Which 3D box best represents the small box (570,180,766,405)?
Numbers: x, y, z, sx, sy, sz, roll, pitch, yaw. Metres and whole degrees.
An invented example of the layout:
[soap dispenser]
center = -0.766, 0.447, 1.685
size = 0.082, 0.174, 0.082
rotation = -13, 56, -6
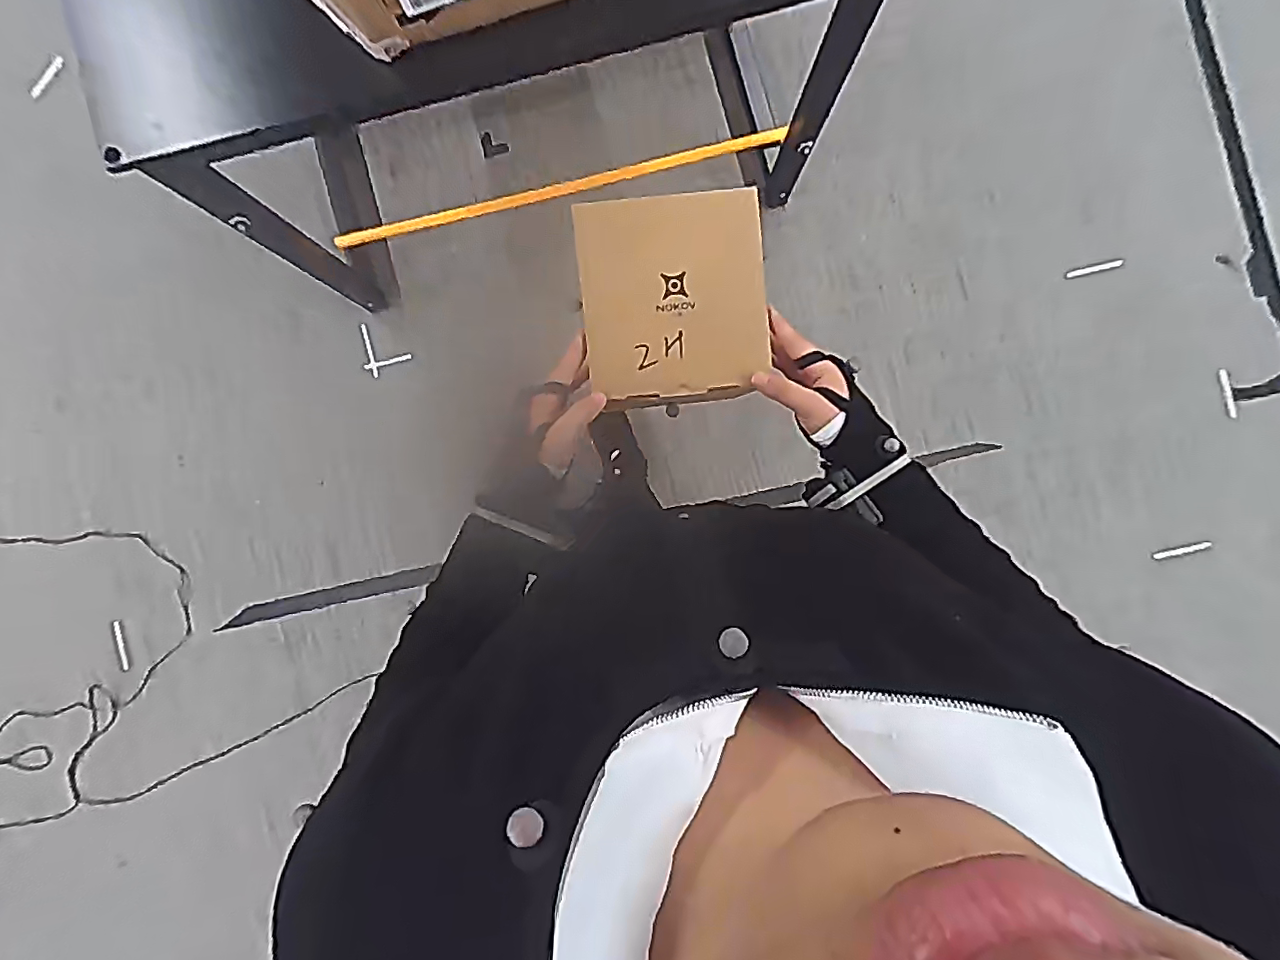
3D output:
[small box]
center = 0.023, -0.177, 0.559
size = 0.168, 0.176, 0.179
rotation = -6, 94, 0
